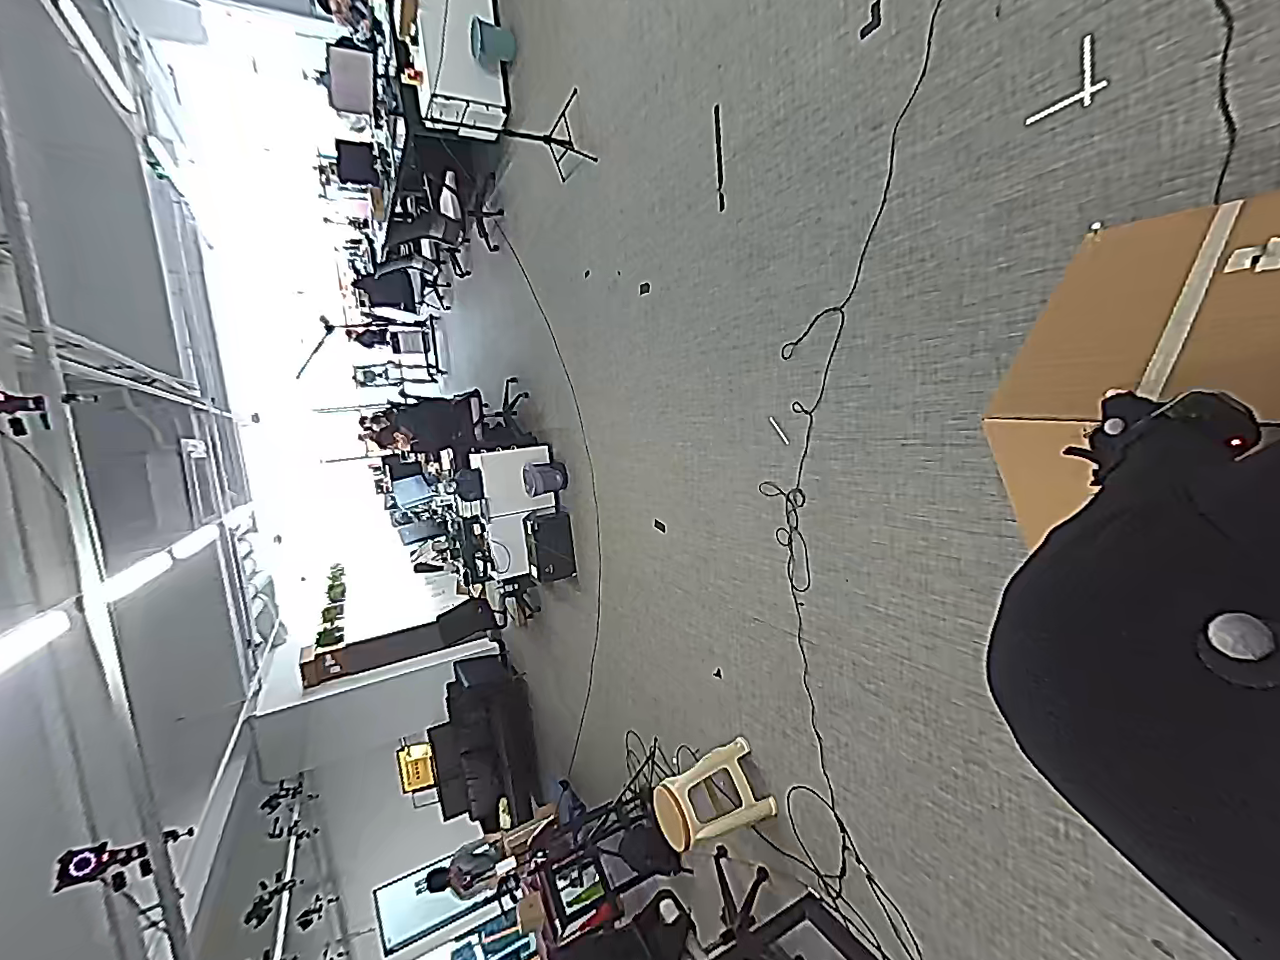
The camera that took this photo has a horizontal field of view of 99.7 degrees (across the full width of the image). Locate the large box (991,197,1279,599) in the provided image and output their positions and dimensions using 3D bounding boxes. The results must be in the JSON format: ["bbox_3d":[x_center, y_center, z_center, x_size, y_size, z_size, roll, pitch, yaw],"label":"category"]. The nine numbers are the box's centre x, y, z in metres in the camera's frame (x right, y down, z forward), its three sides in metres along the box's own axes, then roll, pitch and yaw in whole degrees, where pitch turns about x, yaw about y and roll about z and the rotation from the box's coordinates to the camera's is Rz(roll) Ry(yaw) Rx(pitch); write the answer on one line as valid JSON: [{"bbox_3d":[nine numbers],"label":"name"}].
[{"bbox_3d":[0.744,-0.108,0.718,0.320,0.408,0.320,13,149,54],"label":"large box"}]
